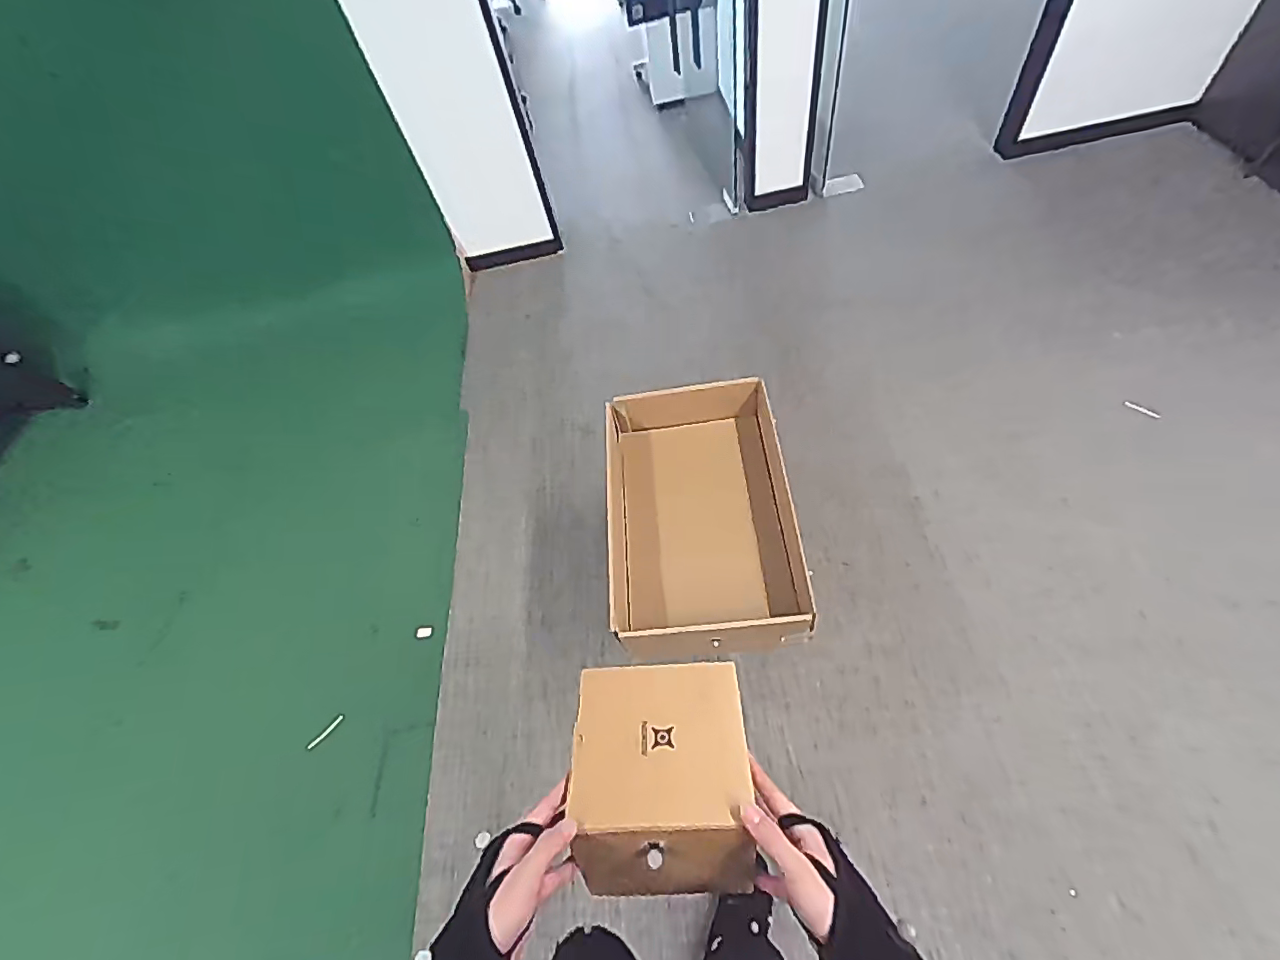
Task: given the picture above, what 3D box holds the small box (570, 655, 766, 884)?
[{"bbox_3d":[0.033,0.313,0.587,0.179,0.176,0.168,-5,37,4],"label":"small box"}]
